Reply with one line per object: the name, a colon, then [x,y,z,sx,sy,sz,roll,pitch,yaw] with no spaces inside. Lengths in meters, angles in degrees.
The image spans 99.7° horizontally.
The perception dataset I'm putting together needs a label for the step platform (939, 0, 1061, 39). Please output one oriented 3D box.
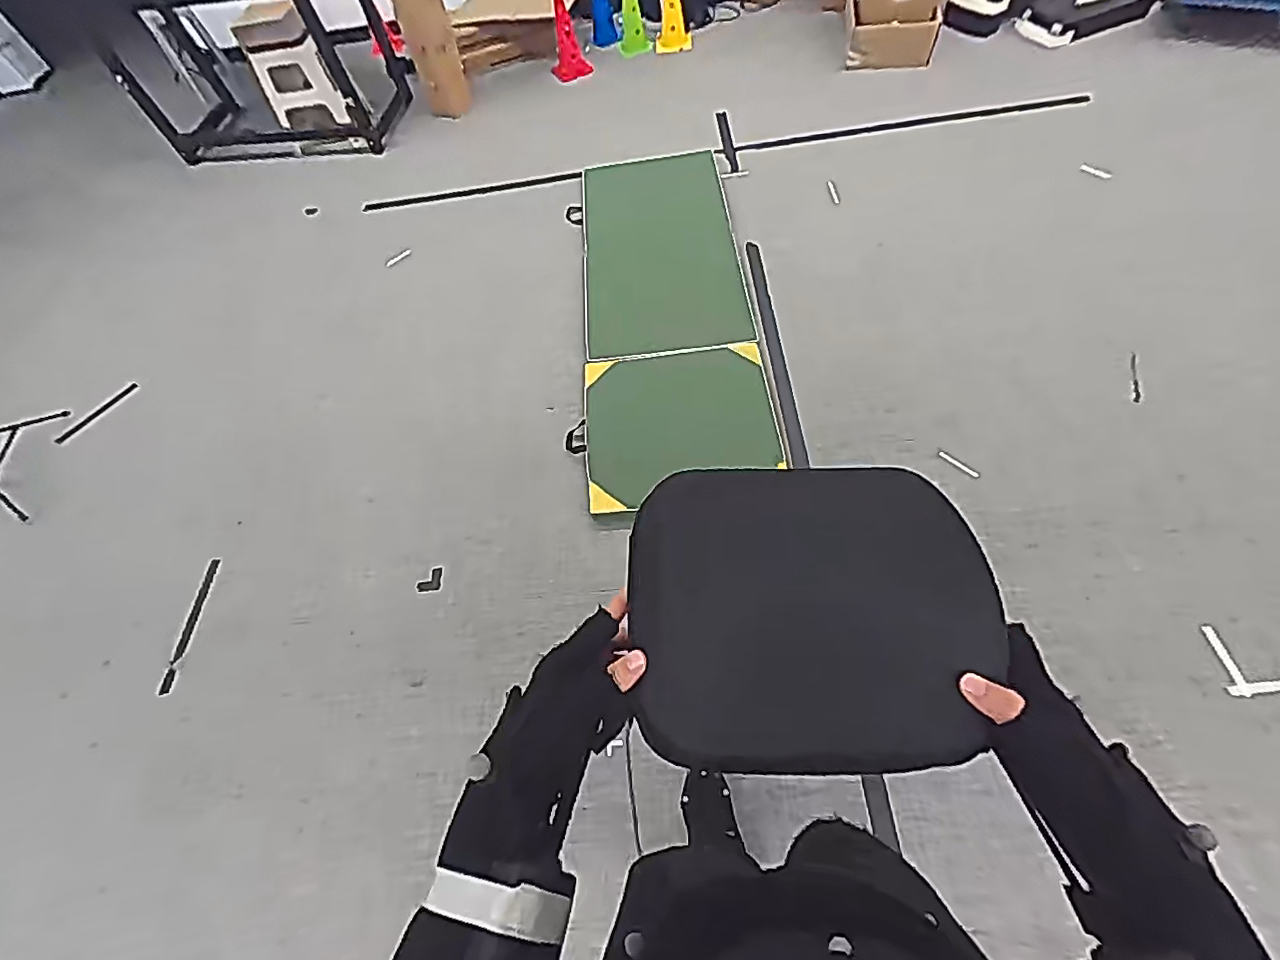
step platform: [1.911,-2.542,2.792,0.684,0.204,0.286,-32,62,-10]
